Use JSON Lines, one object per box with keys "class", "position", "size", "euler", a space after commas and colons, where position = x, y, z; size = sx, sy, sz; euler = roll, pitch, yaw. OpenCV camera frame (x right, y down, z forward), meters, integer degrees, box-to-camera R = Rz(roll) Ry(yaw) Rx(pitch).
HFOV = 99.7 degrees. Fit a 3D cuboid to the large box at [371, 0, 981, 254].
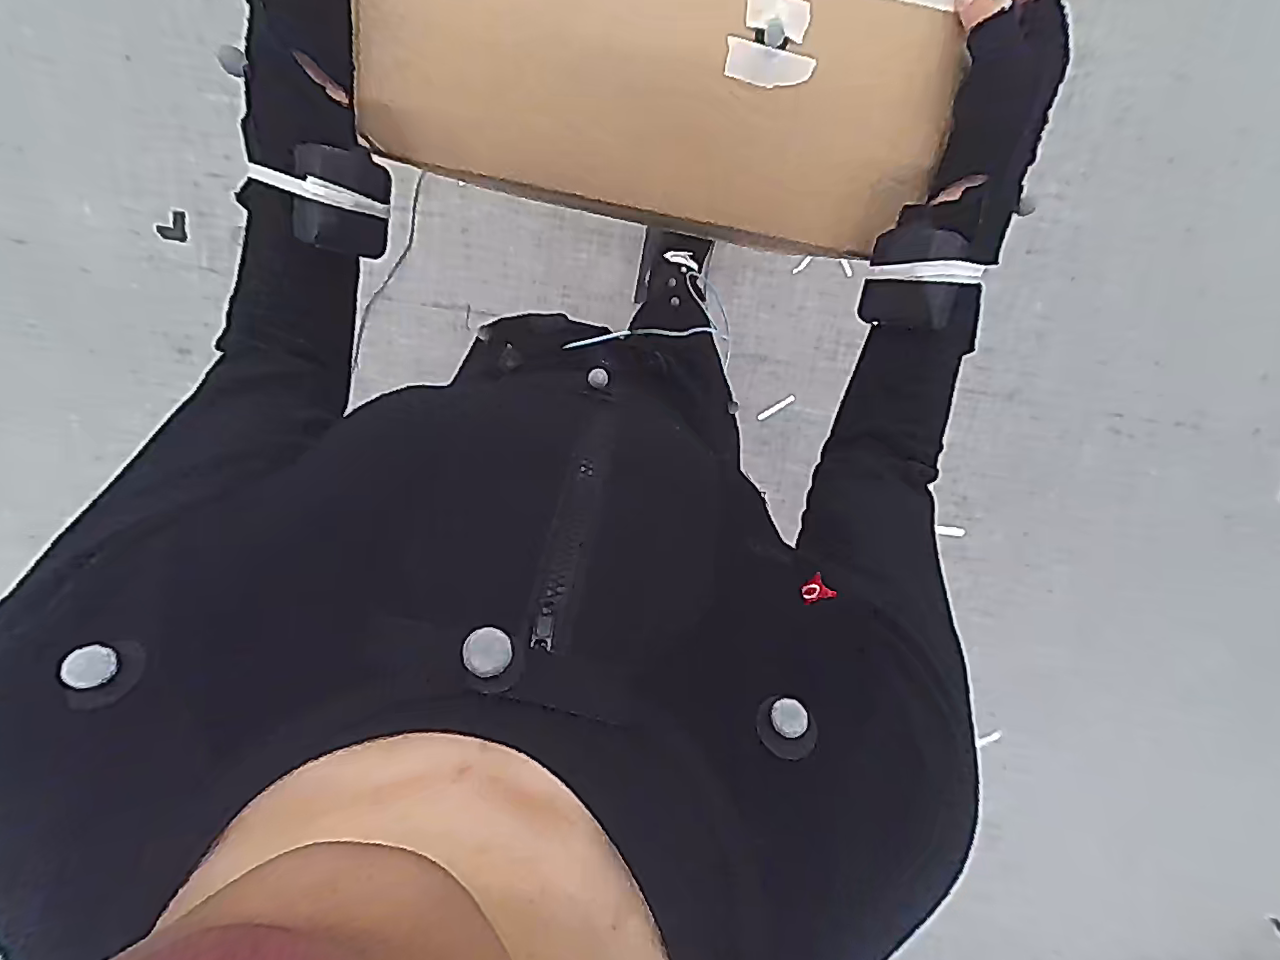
{"class": "large box", "position": [0.026, -0.401, 0.480], "size": [0.408, 0.320, 0.320], "euler": [9, 114, -5]}
